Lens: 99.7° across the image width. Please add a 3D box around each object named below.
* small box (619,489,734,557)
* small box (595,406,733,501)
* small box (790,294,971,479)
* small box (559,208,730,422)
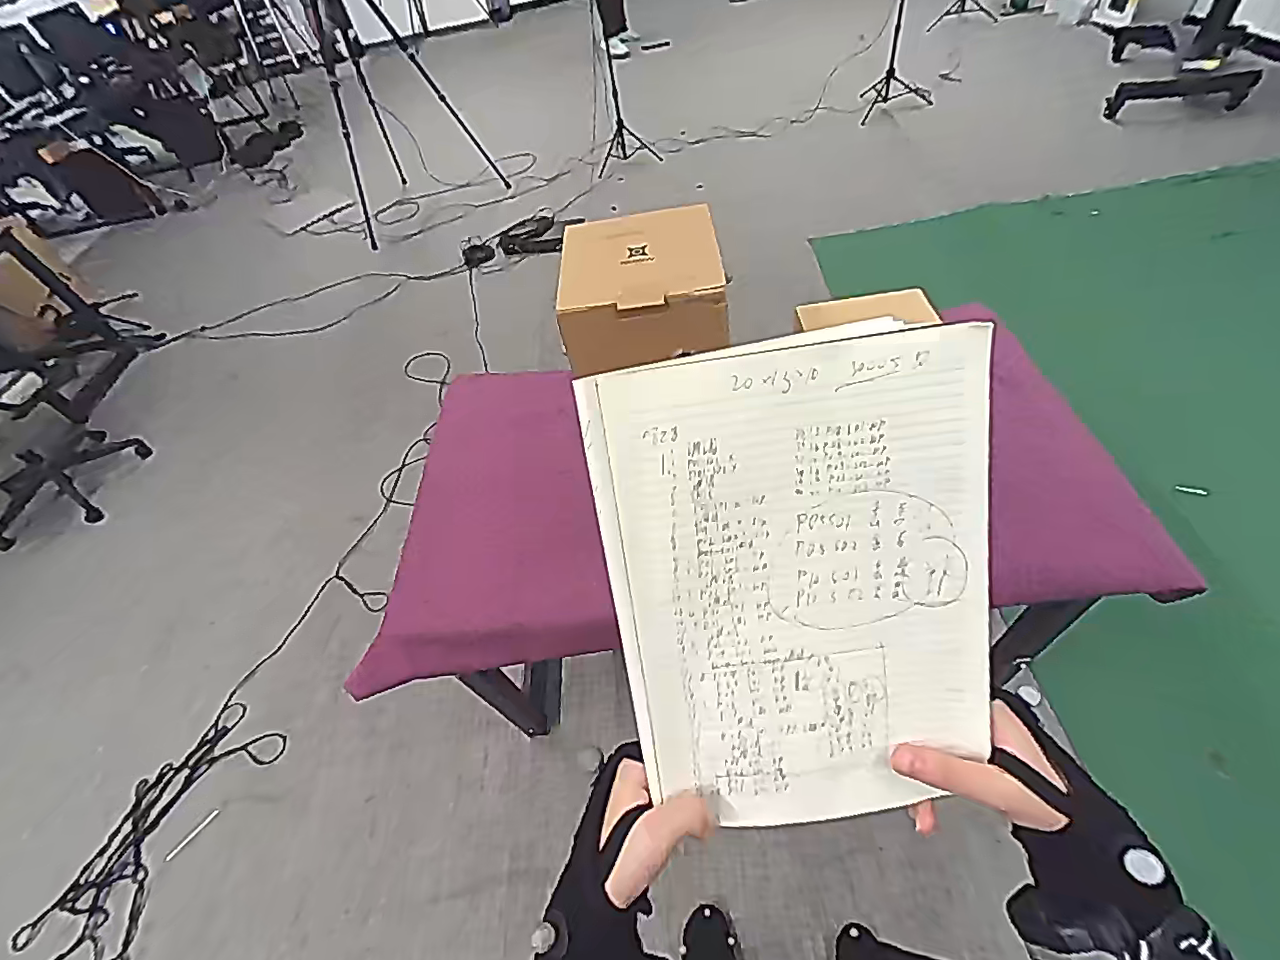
[{"bbox_3d":[0.061,0.015,0.885,0.168,0.176,0.179,-7,51,5],"label":"small box"},{"bbox_3d":[0.037,-0.084,0.755,0.168,0.176,0.179,-7,50,6],"label":"small box"},{"bbox_3d":[0.306,-0.124,0.735,0.168,0.176,0.179,-7,50,6],"label":"small box"},{"bbox_3d":[0.012,-0.182,0.626,0.168,0.176,0.179,-6,50,6],"label":"small box"}]
